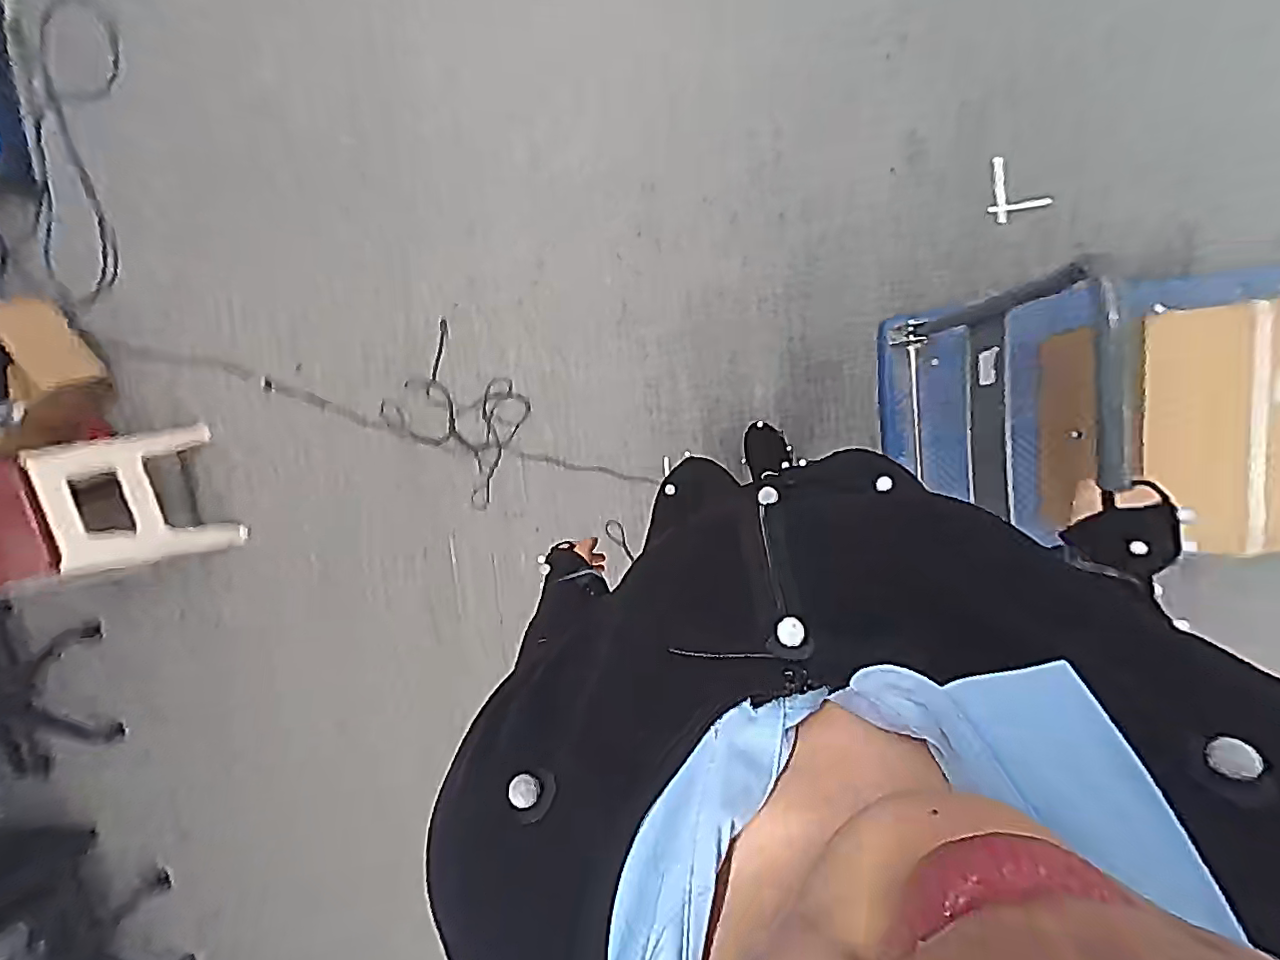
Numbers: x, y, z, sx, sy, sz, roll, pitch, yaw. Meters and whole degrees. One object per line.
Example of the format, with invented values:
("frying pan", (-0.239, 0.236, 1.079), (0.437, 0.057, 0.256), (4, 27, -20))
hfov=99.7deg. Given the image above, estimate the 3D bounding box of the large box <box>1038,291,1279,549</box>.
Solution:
("large box", (0.995, -0.106, 1.004), (0.320, 0.320, 0.408), (-4, 95, 9))
